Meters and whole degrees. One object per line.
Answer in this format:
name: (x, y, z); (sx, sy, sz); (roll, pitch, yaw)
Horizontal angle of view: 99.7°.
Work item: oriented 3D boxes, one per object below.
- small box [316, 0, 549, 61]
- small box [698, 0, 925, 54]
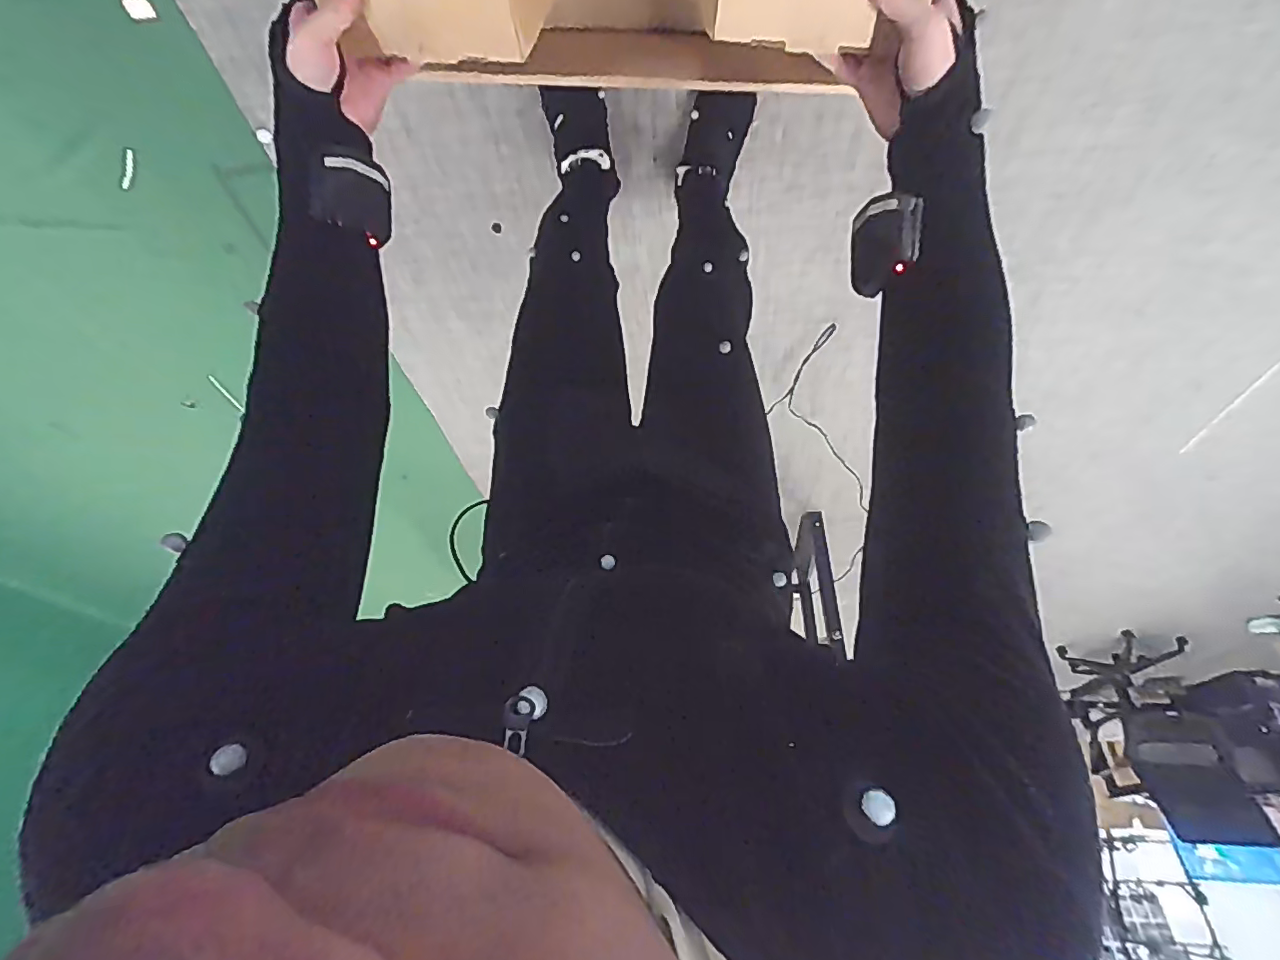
small box: (-0.169, -0.469, 0.421); (0.168, 0.176, 0.179); (6, 152, 6)
small box: (0.134, -0.458, 0.405); (0.168, 0.176, 0.179); (0, 142, -6)
